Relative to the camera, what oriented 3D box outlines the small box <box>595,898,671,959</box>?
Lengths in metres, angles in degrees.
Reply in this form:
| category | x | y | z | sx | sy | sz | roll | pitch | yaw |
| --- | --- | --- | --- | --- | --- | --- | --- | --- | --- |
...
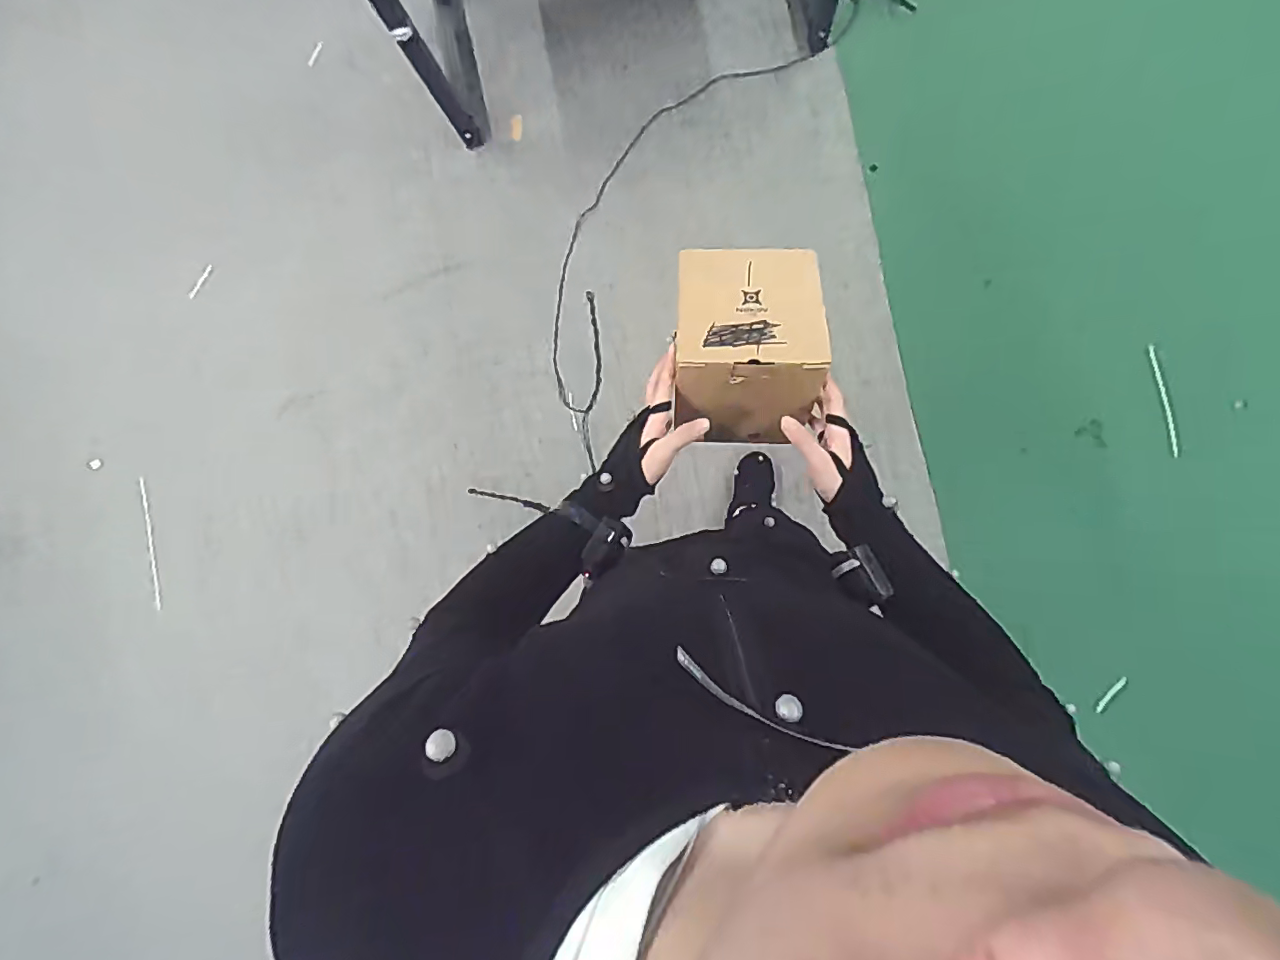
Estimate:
| category | x | y | z | sx | sy | sz | roll | pitch | yaw |
| --- | --- | --- | --- | --- | --- | --- | --- | --- | --- |
| small box | -0.013 | 1.289 | 1.482 | 0.179 | 0.176 | 0.168 | -10 | 85 | 7 |

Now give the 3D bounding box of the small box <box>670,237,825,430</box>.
| category | x | y | z | sx | sy | sz | roll | pitch | yaw |
| --- | --- | --- | --- | --- | --- | --- | --- | --- | --- |
| small box | 0.123 | -0.176 | 0.681 | 0.168 | 0.176 | 0.179 | 1 | 62 | 3 |
